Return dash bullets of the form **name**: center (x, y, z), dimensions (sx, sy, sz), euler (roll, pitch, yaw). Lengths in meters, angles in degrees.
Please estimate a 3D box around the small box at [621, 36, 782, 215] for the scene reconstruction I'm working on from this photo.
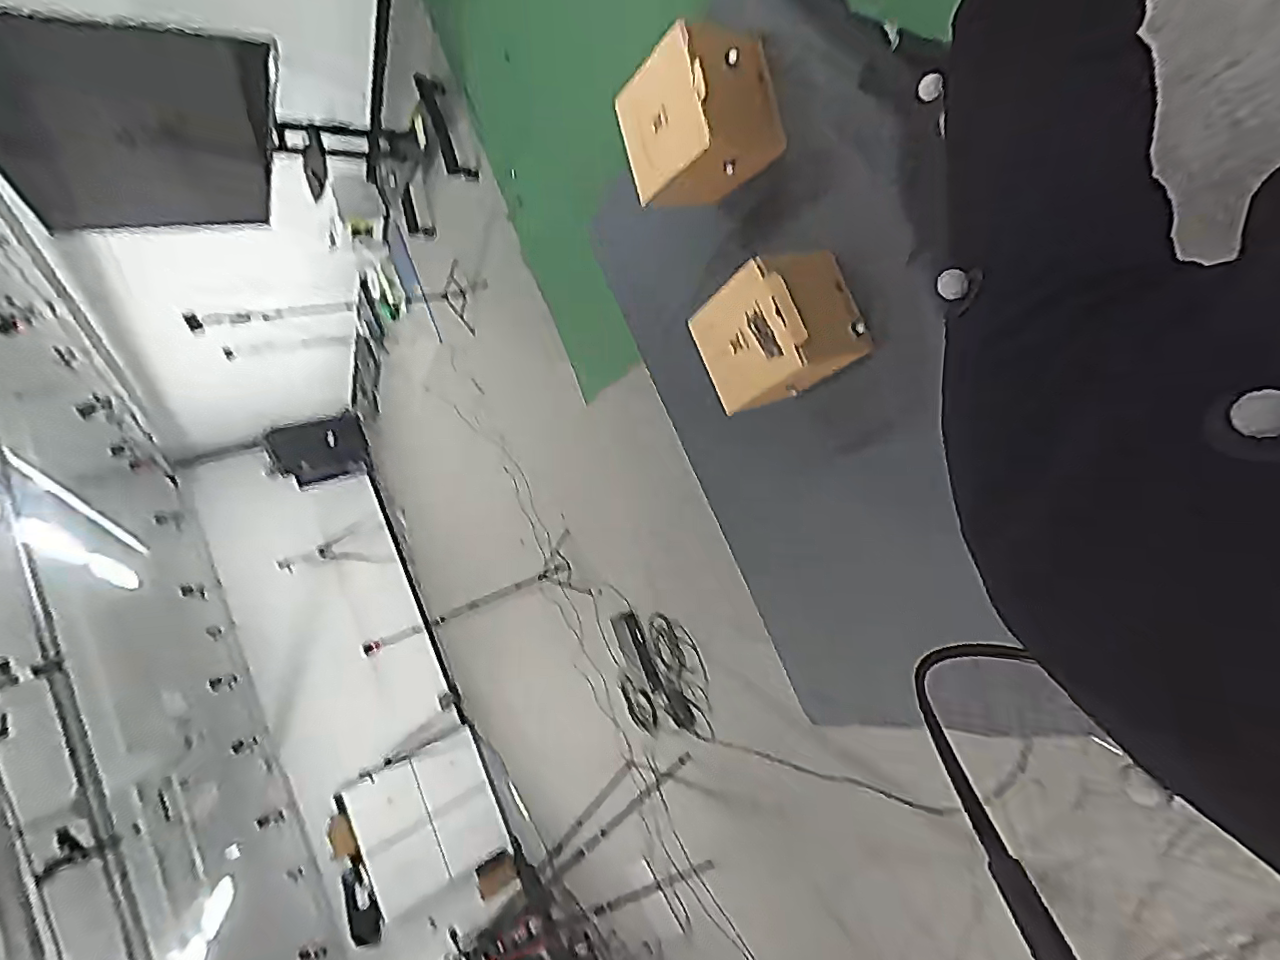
- **small box**: center (0.102, -0.543, 0.853), dimensions (0.179, 0.176, 0.168), euler (-10, 98, 58)

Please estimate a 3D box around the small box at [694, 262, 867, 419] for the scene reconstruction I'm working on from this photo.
- **small box**: center (0.223, -0.217, 0.841), dimensions (0.179, 0.176, 0.168), euler (-32, 79, 58)
